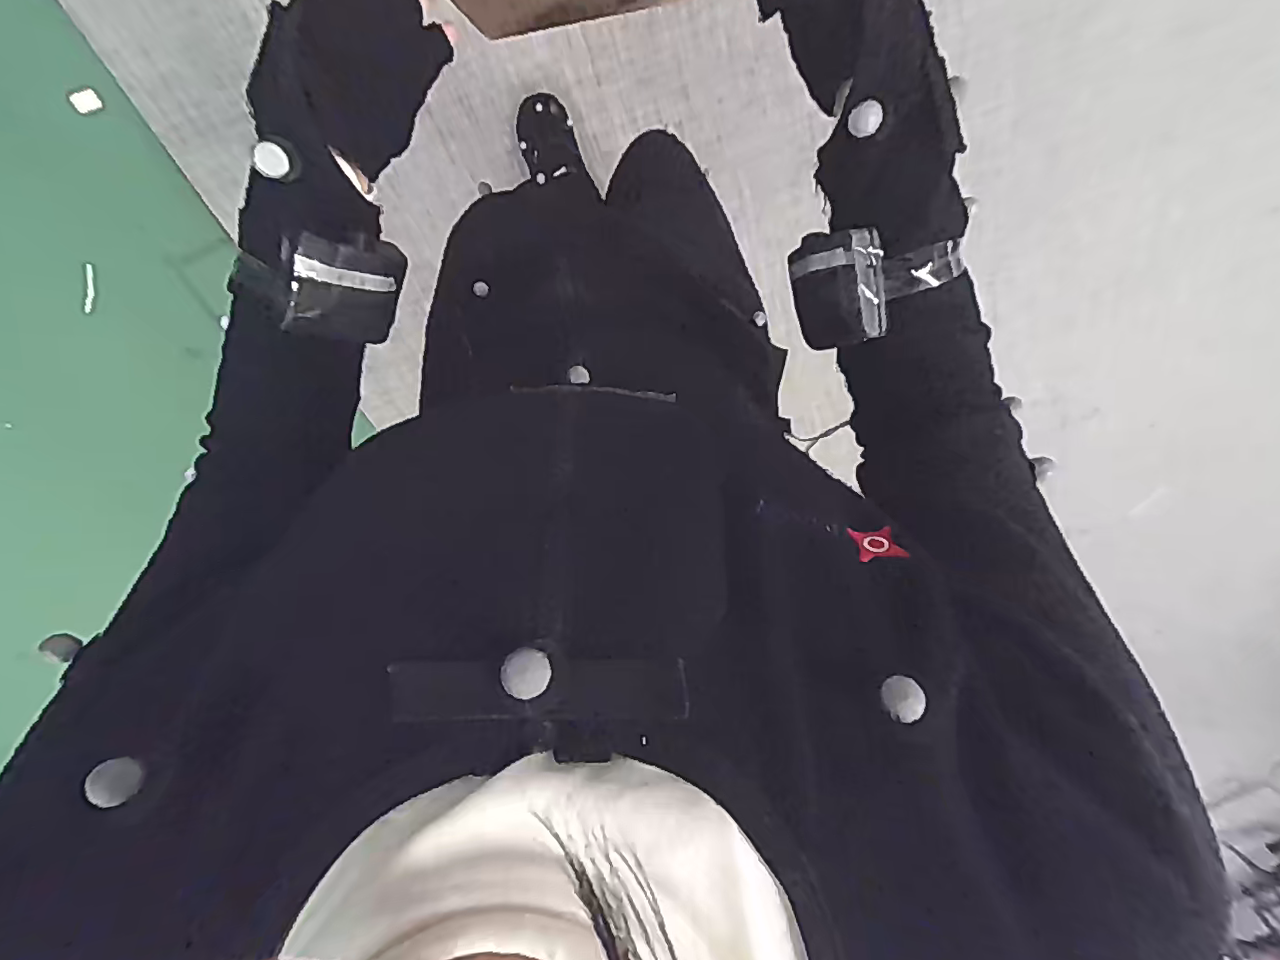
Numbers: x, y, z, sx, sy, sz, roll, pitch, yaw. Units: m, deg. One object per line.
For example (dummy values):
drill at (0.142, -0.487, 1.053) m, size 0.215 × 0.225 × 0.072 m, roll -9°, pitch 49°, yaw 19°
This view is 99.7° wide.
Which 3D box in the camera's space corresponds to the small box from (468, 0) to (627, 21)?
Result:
small box at (-0.046, -0.375, 0.279) m, size 0.168 × 0.176 × 0.179 m, roll -9°, pitch 115°, yaw 3°
